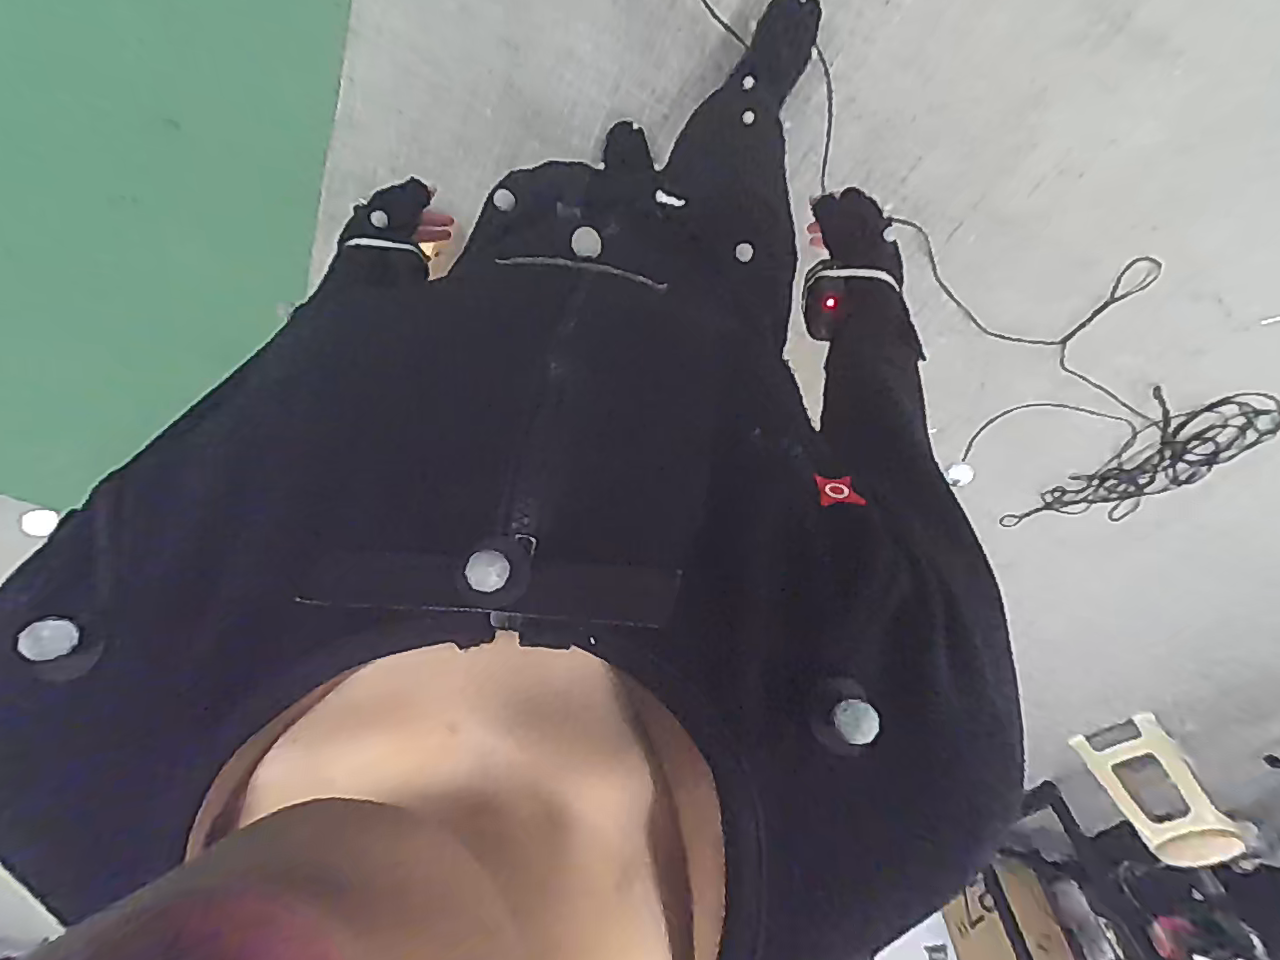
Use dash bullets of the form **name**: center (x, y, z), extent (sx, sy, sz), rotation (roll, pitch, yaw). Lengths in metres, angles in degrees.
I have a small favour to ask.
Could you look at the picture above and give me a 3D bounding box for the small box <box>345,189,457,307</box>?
- **small box**: center (-0.535, -0.533, 1.231), extent (0.168, 0.176, 0.179), rotation (25, 123, -14)
